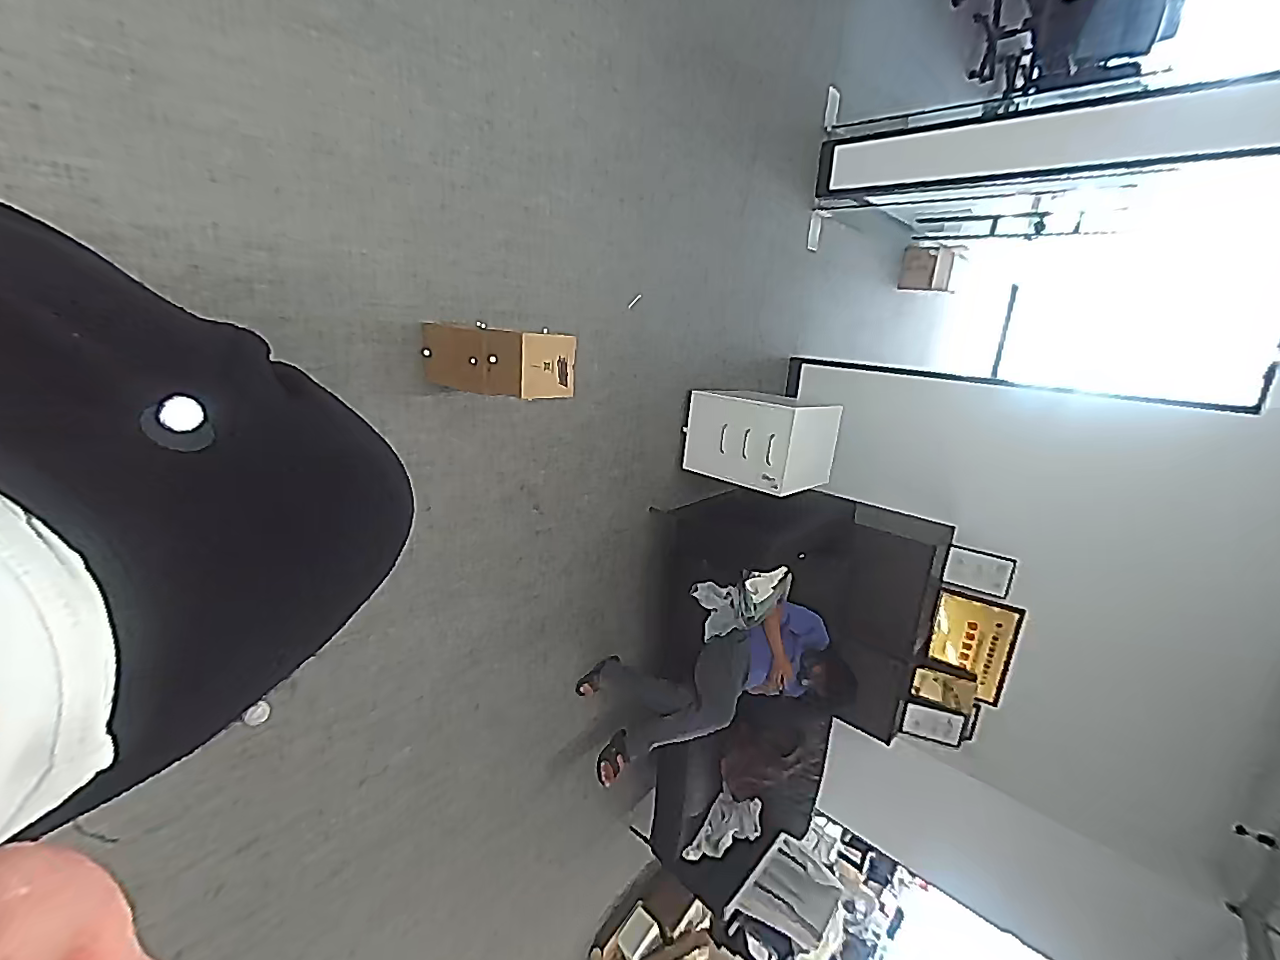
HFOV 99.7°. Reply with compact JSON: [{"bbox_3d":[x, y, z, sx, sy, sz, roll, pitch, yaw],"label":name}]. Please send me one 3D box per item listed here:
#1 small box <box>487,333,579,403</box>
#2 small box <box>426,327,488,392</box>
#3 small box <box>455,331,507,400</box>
[{"bbox_3d":[-0.287,-0.302,1.448,0.179,0.176,0.168,-12,112,-47],"label":"small box"},{"bbox_3d":[-0.537,-0.368,1.650,0.168,0.176,0.179,-13,114,-48],"label":"small box"},{"bbox_3d":[-0.416,-0.329,1.547,0.168,0.176,0.179,-13,114,-47],"label":"small box"}]
